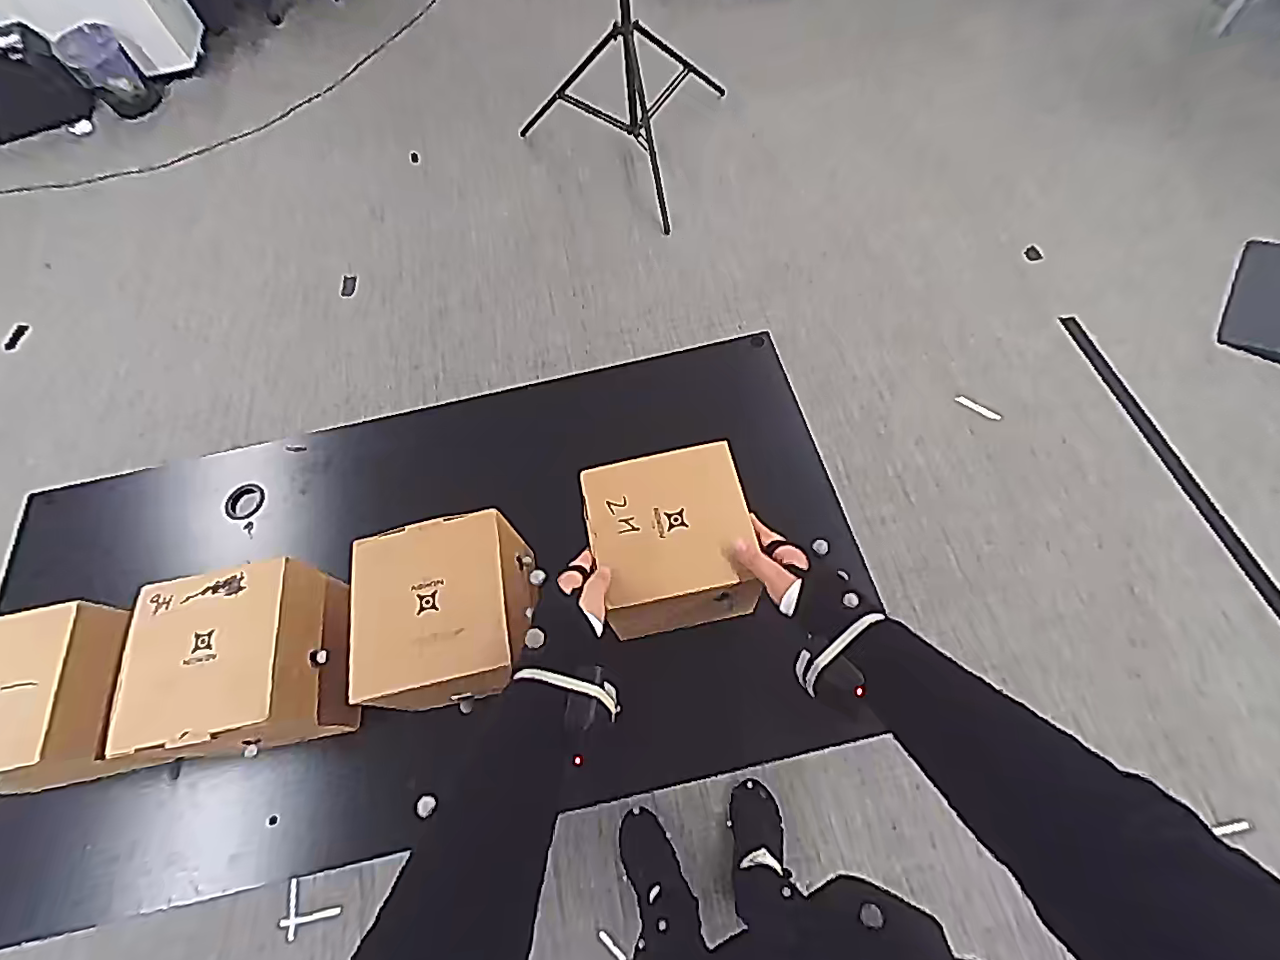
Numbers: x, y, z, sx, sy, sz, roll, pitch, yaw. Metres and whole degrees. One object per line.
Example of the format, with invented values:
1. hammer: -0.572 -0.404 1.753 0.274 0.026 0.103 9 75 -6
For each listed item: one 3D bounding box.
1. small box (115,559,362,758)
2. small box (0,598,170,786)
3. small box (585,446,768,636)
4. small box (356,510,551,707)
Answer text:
1. small box: -0.446 0.213 0.639 0.168 0.176 0.179 -12 64 -2
2. small box: -0.674 0.255 0.636 0.179 0.176 0.168 -12 64 -2
3. small box: 0.040 0.082 0.660 0.179 0.176 0.168 -12 64 0
4. small box: -0.213 0.160 0.647 0.168 0.176 0.179 -14 65 -1
